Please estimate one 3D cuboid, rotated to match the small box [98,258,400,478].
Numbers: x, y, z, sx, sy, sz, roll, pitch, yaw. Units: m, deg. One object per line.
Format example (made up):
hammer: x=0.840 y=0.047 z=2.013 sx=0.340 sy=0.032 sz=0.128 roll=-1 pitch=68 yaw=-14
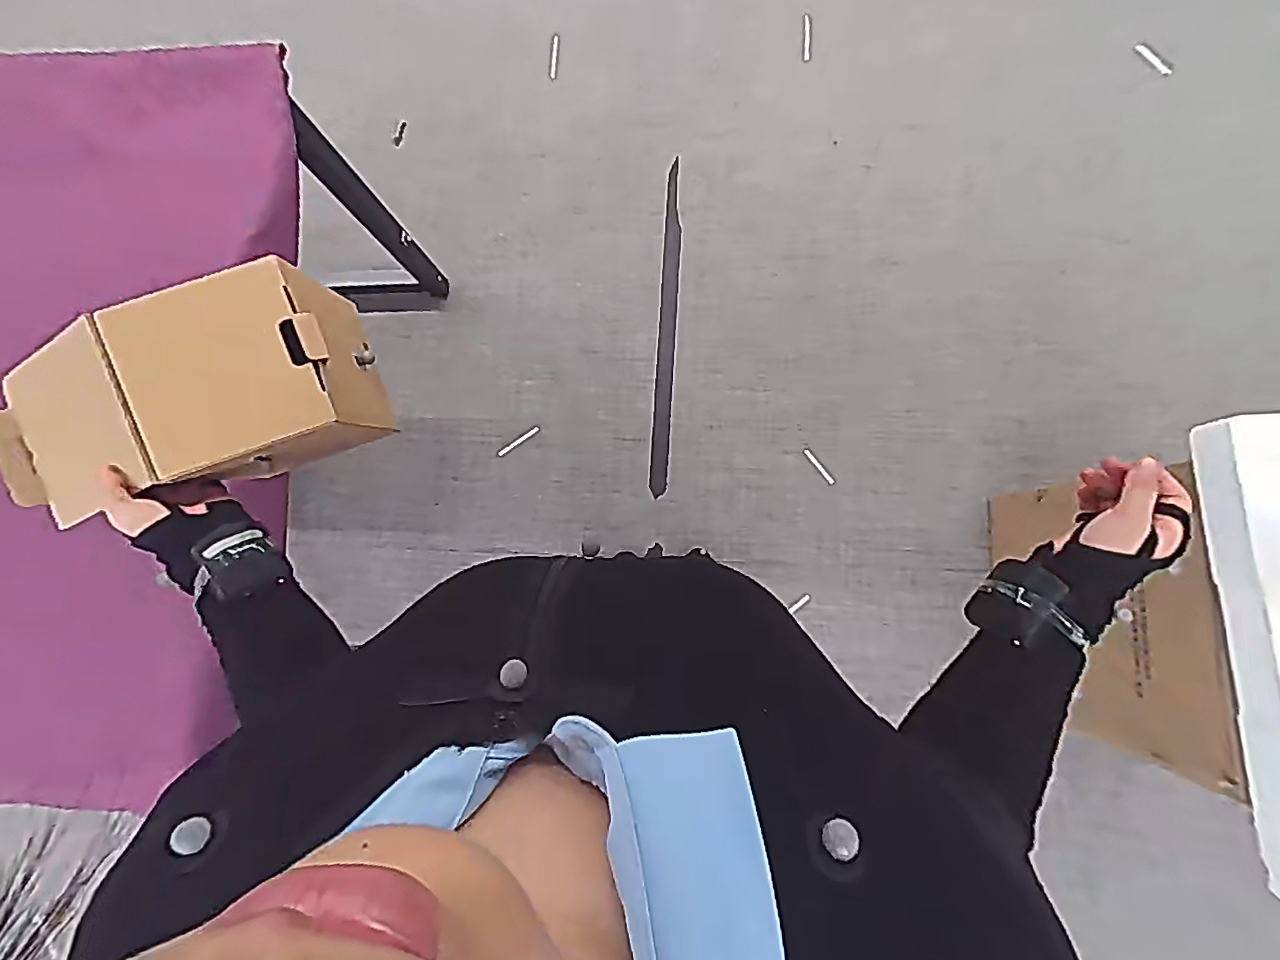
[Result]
small box: x=-0.396 y=-0.106 z=0.583 sx=0.179 sy=0.176 sz=0.168 roll=-20 pitch=94 yaw=-3
